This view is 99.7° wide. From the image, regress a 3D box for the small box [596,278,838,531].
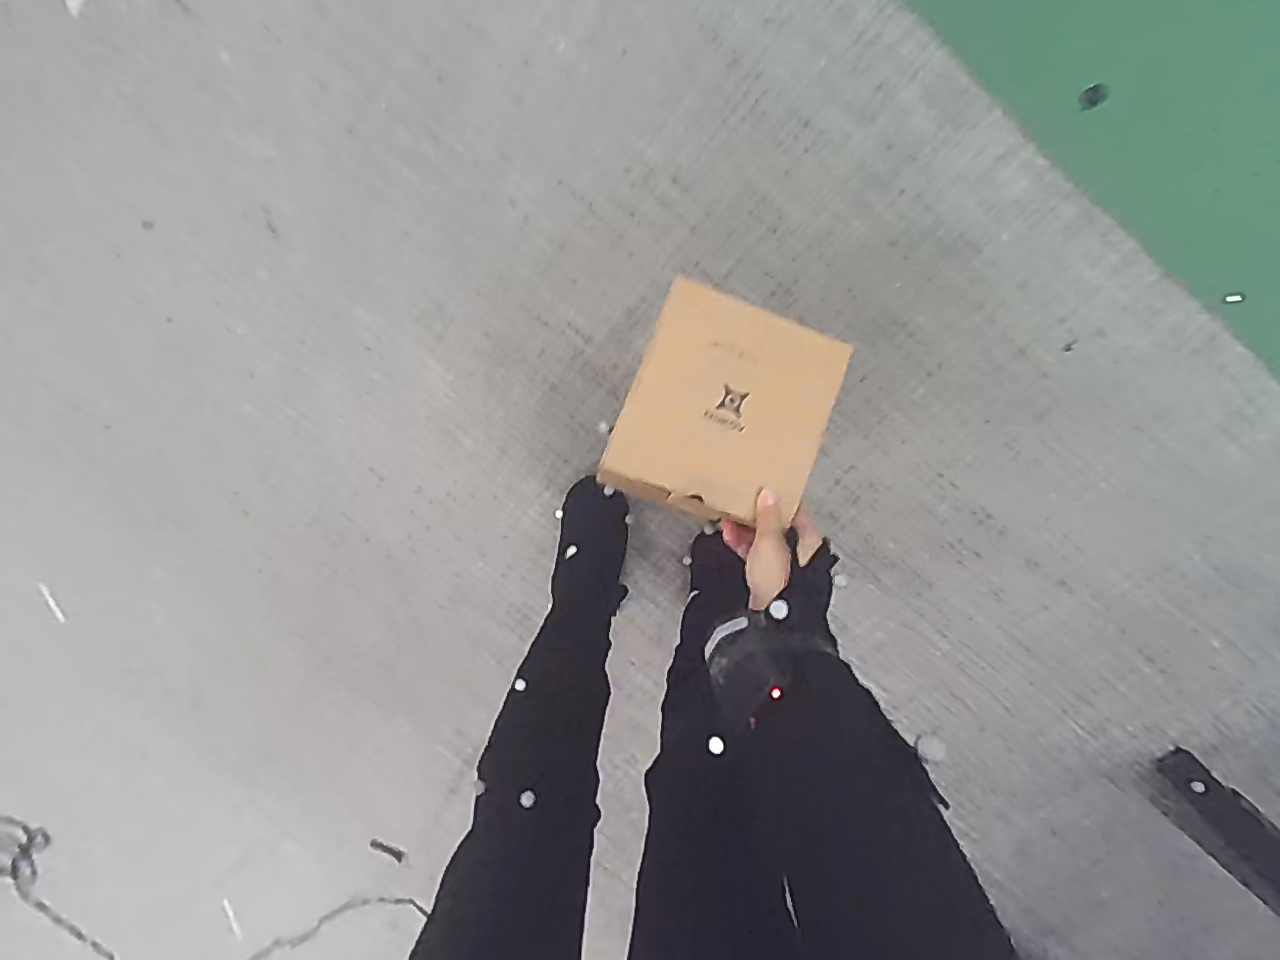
[{"bbox_3d":[0.062,-0.058,0.538,0.168,0.176,0.179,21,83,-5],"label":"small box"}]
